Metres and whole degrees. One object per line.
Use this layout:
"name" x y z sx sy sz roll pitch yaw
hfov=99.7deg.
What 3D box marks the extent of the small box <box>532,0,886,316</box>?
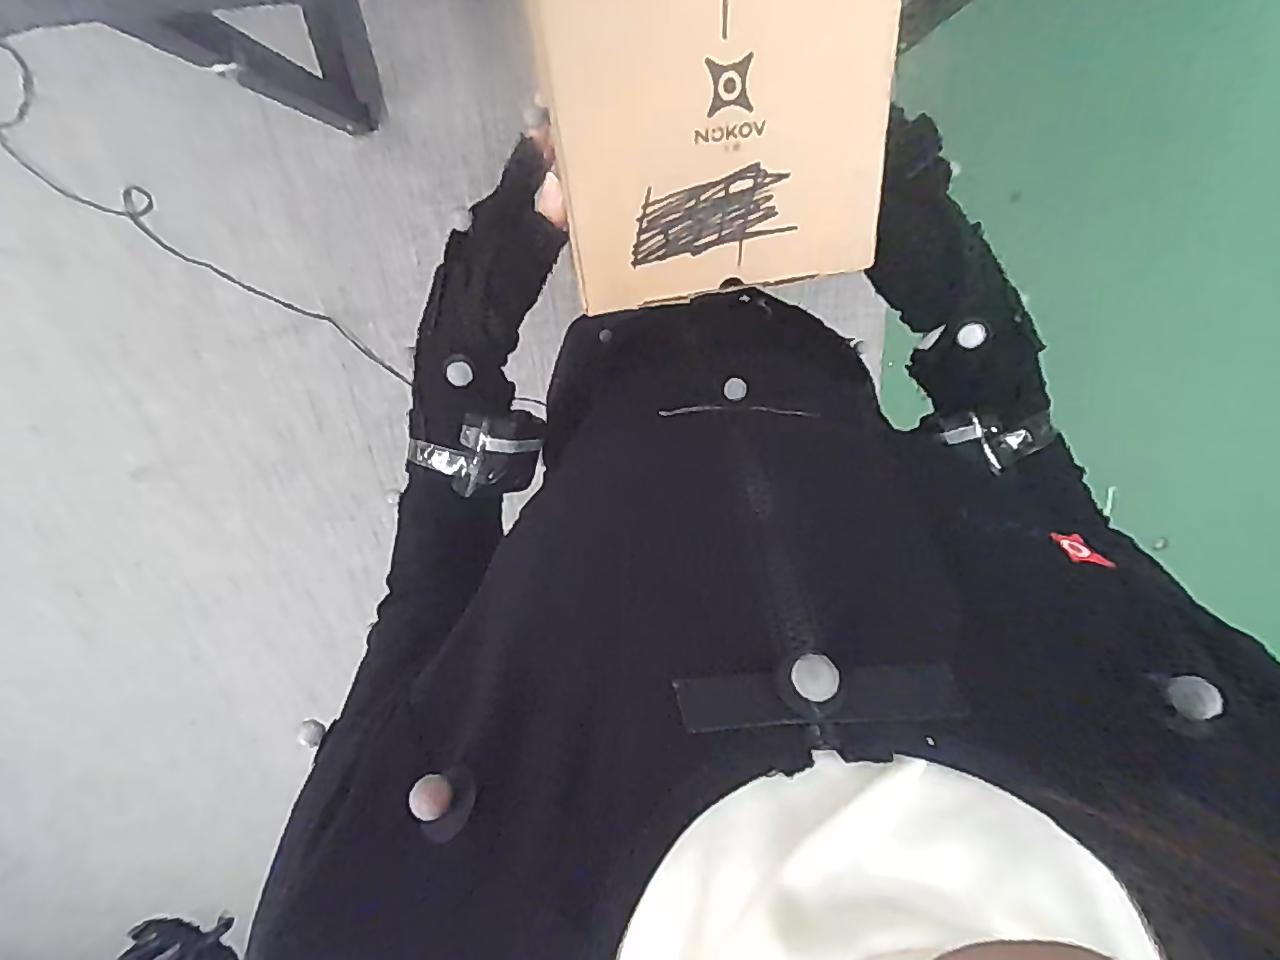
"small box" 0.027 -0.219 0.340 0.168 0.176 0.179 -9 121 -5
